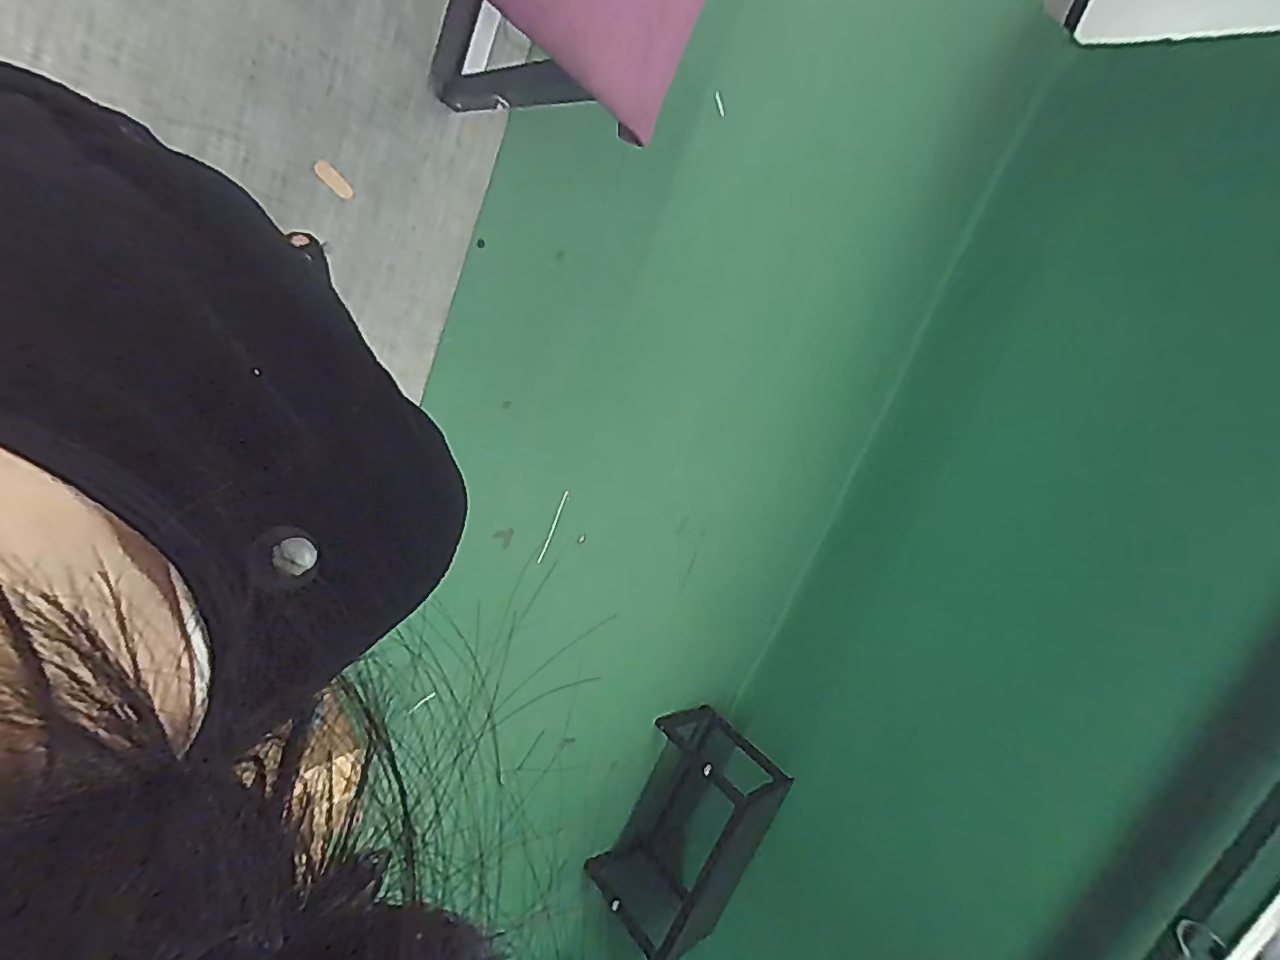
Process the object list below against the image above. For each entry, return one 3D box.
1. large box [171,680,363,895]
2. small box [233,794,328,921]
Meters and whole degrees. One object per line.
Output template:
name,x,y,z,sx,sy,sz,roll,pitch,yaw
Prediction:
large box,-1.072,0.860,1.575,0.408,0.320,0.320,-9,121,-43
small box,-0.931,0.961,1.398,0.179,0.176,0.168,-4,115,-44
